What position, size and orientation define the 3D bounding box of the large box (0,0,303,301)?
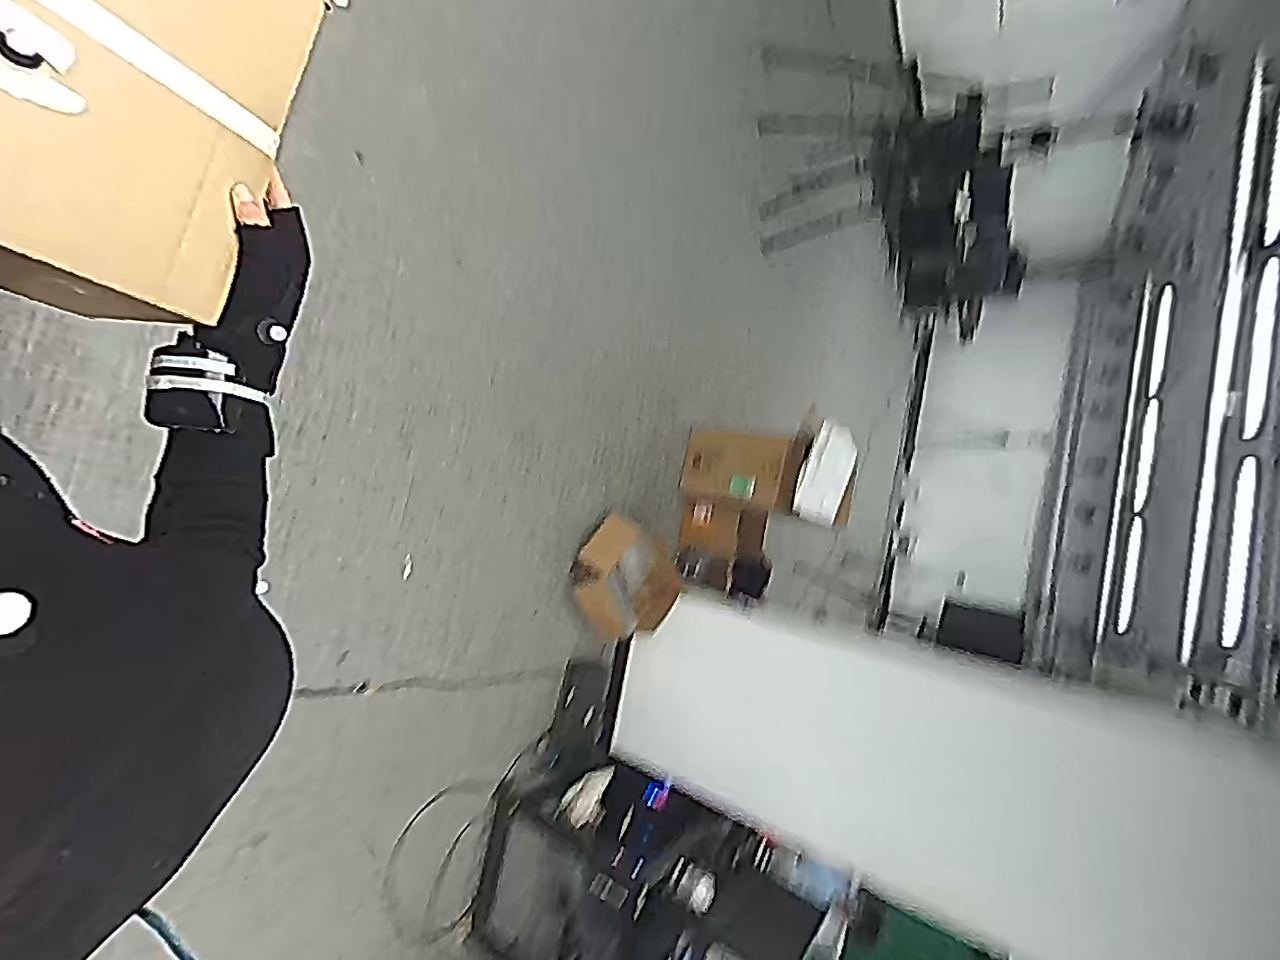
[{"bbox_3d":[-0.533,-0.347,0.351,0.408,0.320,0.320,21,82,-60],"label":"large box"}]
